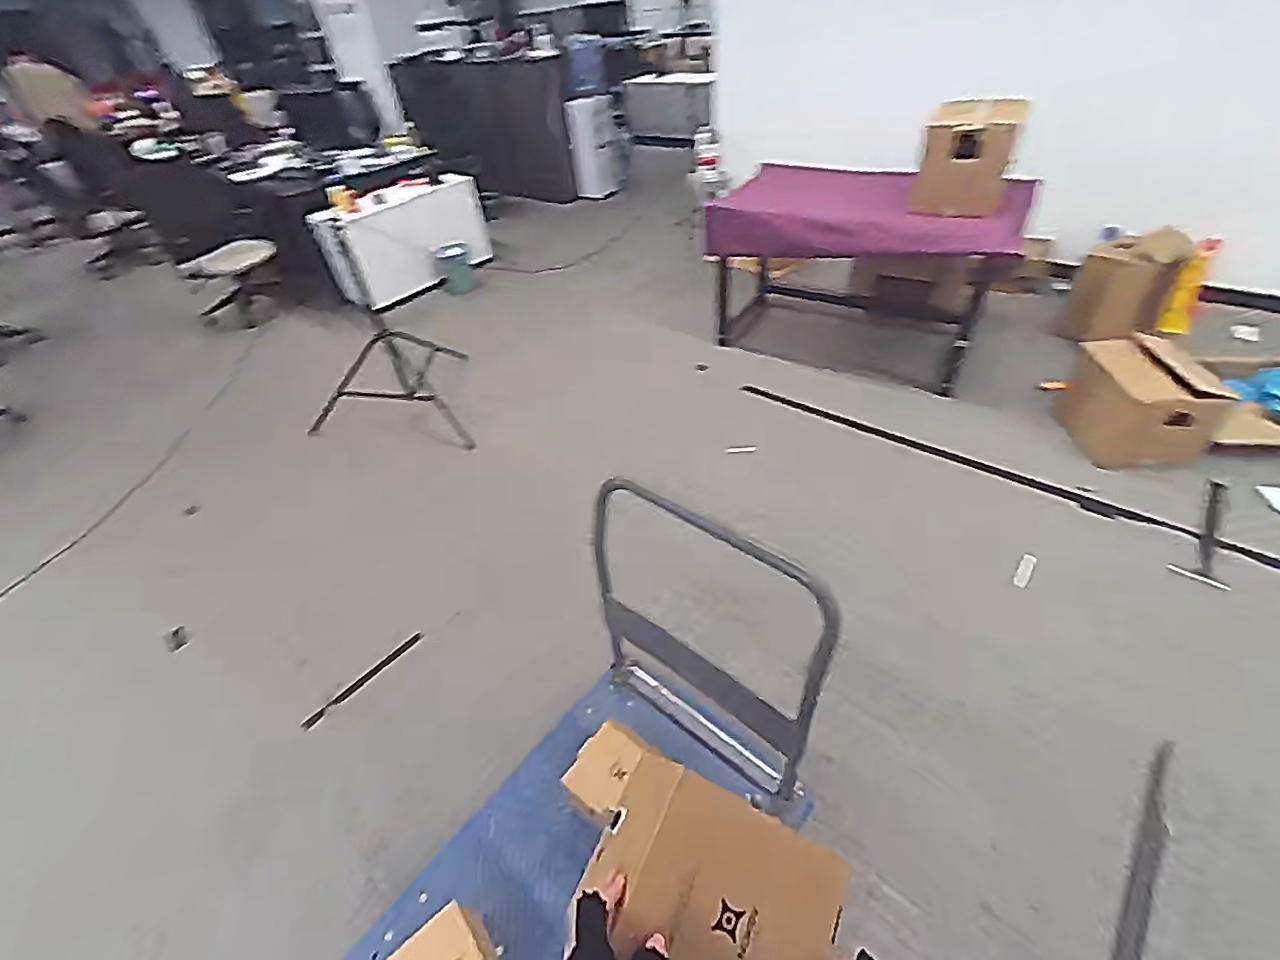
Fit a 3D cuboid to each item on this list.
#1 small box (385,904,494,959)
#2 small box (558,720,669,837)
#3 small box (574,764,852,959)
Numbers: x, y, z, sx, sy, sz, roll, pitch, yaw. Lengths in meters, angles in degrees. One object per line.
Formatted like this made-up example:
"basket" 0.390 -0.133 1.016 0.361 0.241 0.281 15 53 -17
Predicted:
"small box" -0.351 0.903 0.944 0.179 0.176 0.168 -32 48 -27
"small box" -0.048 0.666 1.168 0.179 0.176 0.168 22 50 30
"small box" 0.056 0.387 0.505 0.179 0.176 0.168 31 63 2
